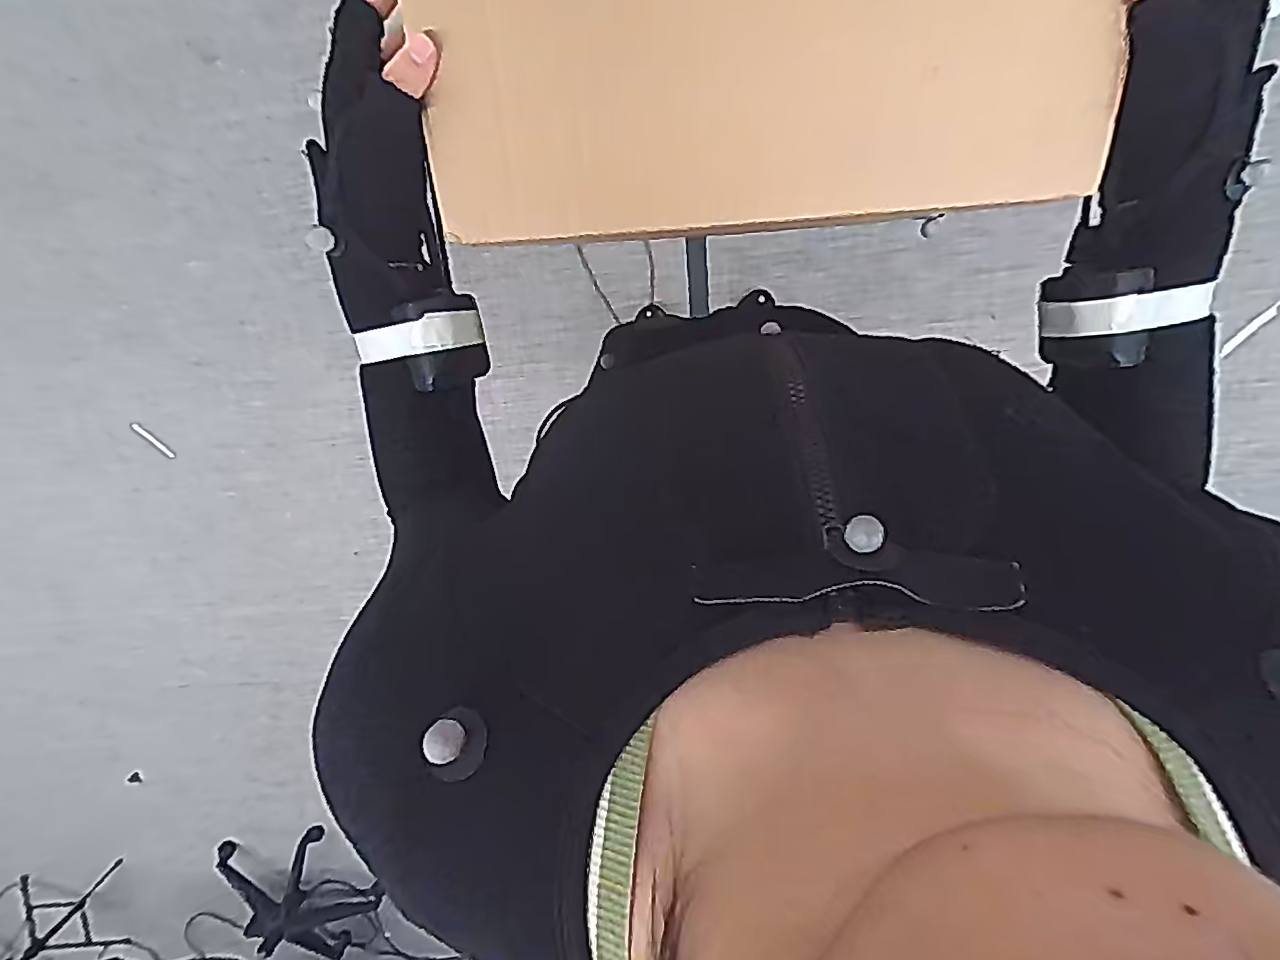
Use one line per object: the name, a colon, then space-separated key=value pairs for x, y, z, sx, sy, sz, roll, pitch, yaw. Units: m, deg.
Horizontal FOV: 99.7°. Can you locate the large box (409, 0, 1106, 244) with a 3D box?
large box: x=0.066 y=-0.371 z=0.426 sx=0.408 sy=0.320 sz=0.320 roll=-3 pitch=113 yaw=2
